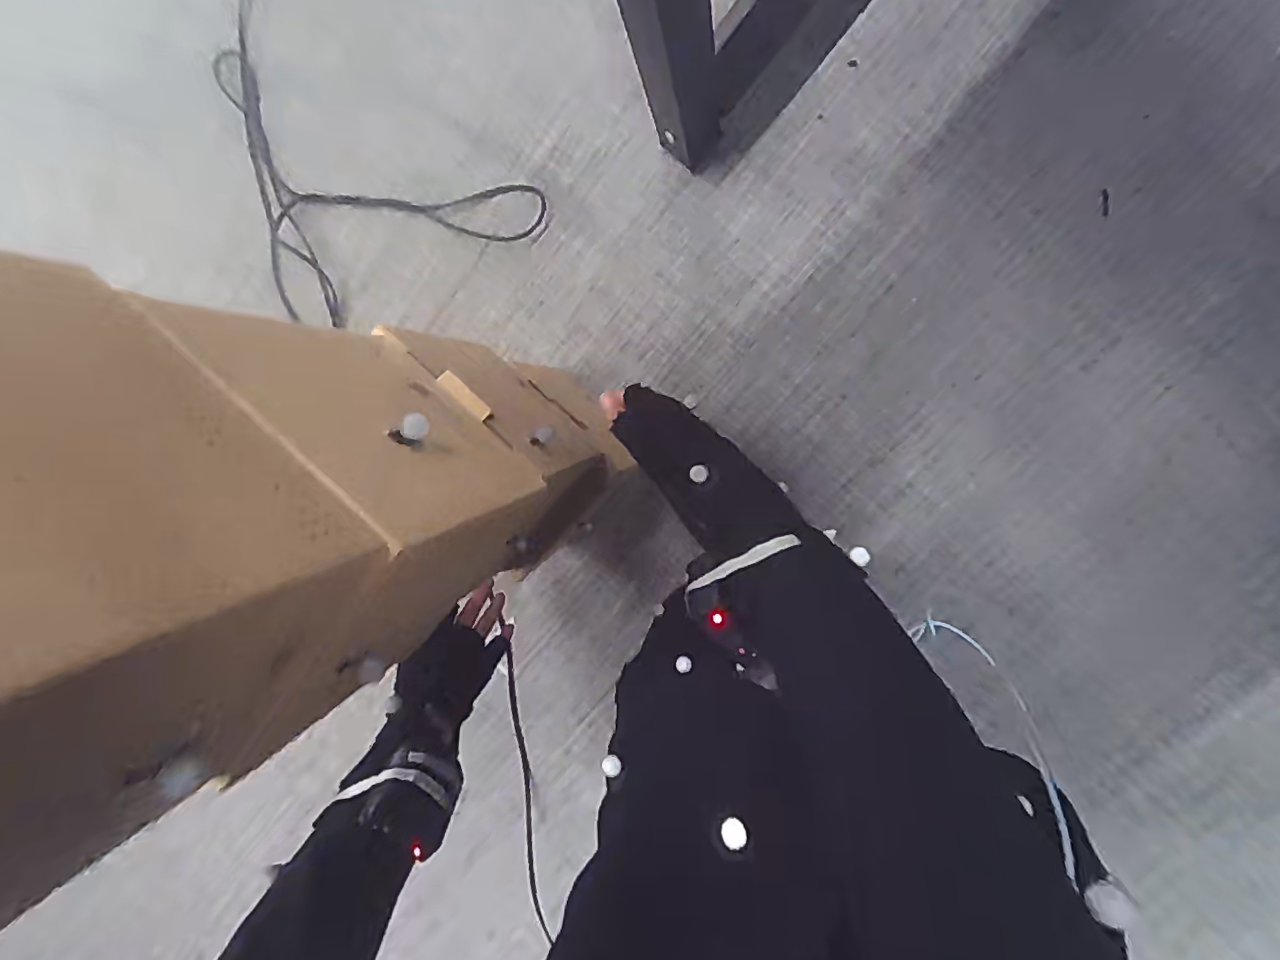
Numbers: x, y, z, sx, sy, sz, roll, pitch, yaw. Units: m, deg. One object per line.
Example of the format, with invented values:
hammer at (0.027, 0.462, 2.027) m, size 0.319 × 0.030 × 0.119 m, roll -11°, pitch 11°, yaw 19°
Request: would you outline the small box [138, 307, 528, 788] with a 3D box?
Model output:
small box at (-0.191, 0.026, 0.328) m, size 0.168 × 0.176 × 0.179 m, roll 43°, pitch 105°, yaw 2°
